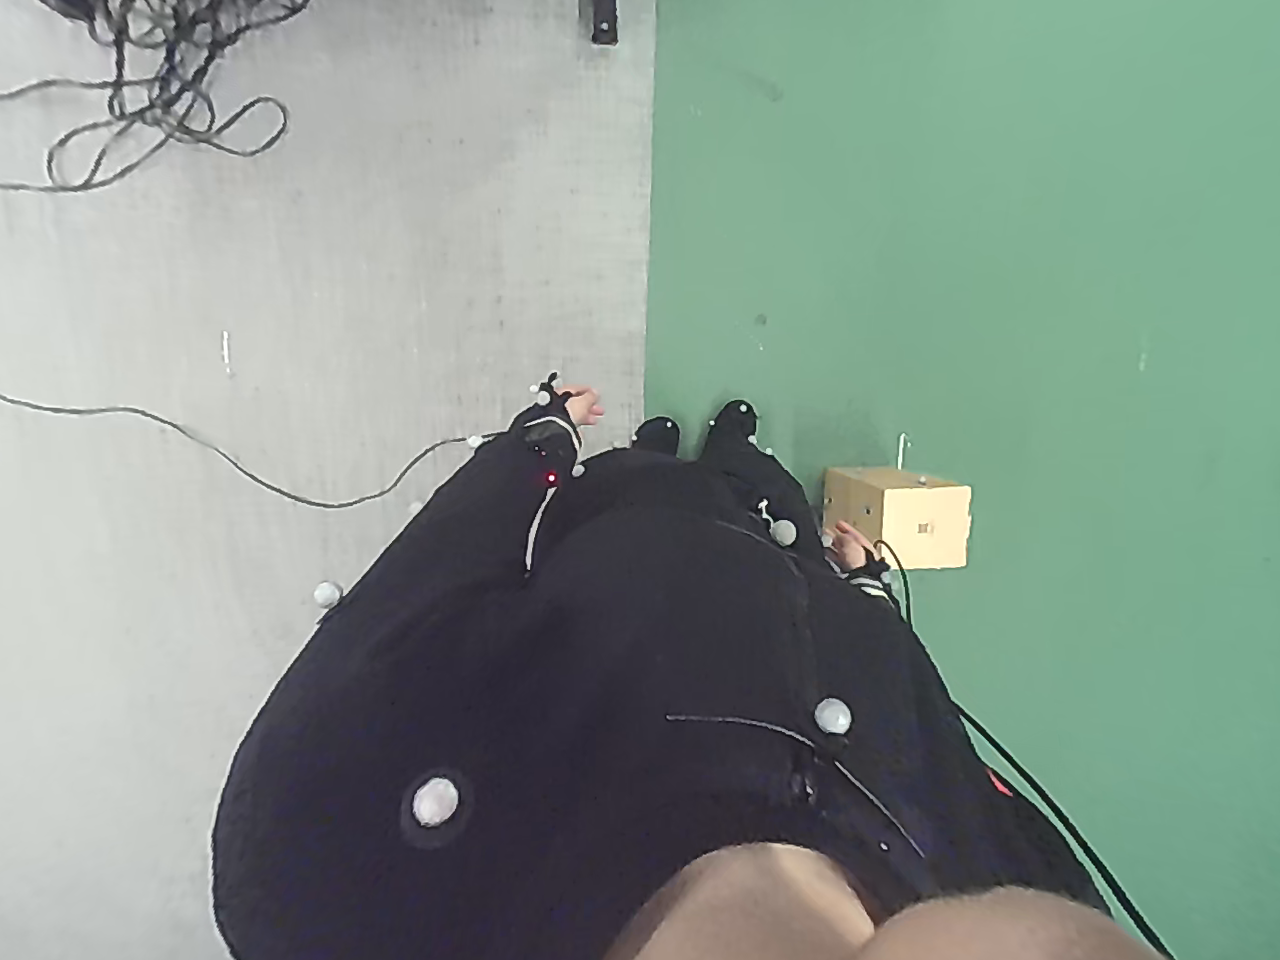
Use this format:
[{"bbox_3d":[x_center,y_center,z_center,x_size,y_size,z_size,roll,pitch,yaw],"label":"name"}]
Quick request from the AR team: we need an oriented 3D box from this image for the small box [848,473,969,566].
[{"bbox_3d":[0.557,0.078,1.145,0.179,0.176,0.168,-2,99,-2],"label":"small box"}]
